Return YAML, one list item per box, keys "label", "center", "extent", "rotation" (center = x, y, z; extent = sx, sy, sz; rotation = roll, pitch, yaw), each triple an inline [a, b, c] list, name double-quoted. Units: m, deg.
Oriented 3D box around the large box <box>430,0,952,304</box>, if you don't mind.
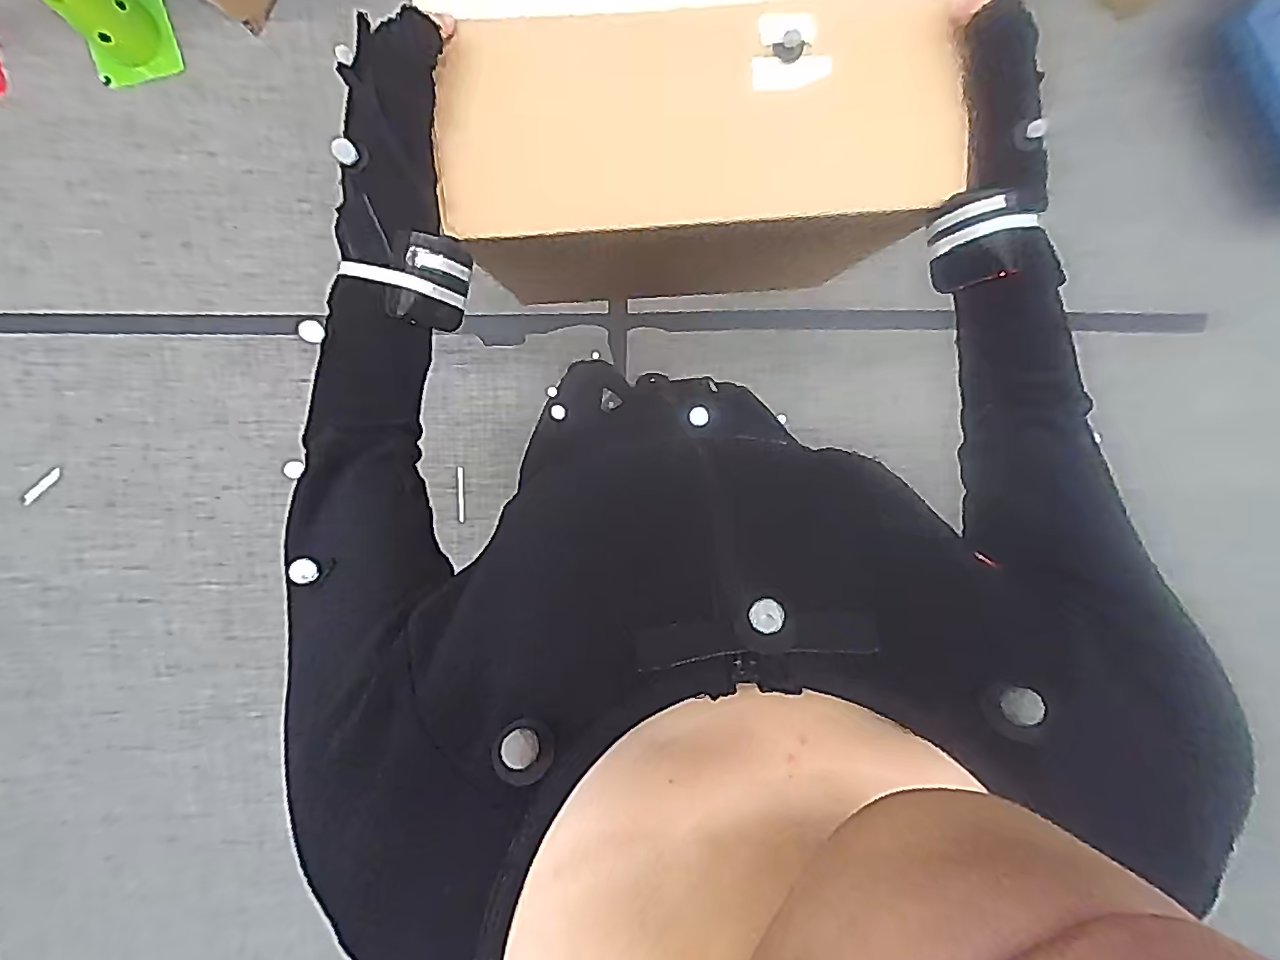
- label: "large box"
  center: [0.033, -0.381, 0.556]
  extent: [0.408, 0.320, 0.320]
  rotation: [-4, 99, -2]
